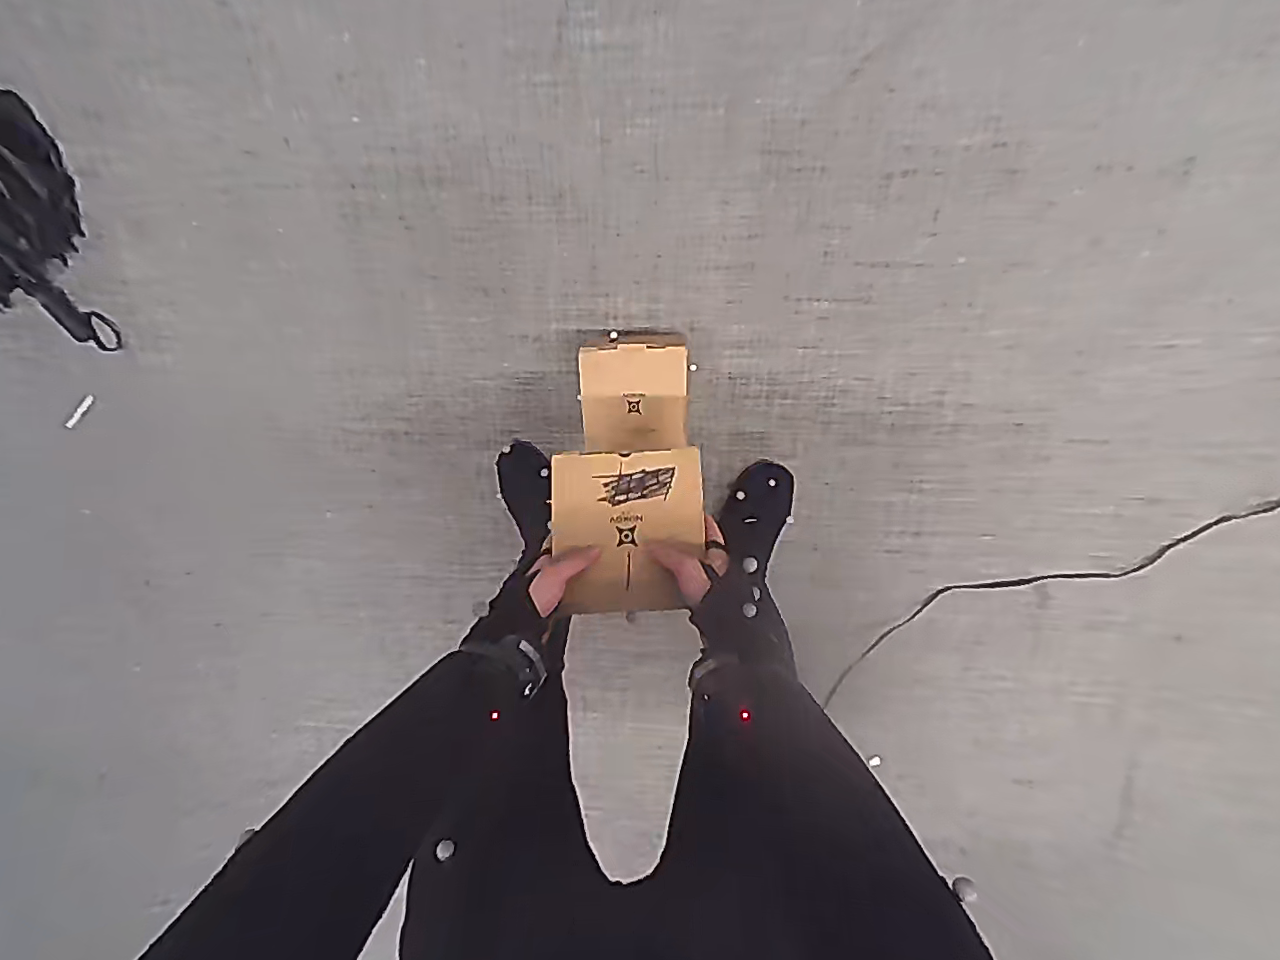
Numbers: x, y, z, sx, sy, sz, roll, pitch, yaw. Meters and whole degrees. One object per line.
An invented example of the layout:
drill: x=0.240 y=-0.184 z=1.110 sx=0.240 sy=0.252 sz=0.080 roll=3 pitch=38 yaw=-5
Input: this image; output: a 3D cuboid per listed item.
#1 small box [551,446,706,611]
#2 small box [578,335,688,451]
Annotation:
small box: x=-0.011 y=0.065 z=0.658 sx=0.168 sy=0.176 sz=0.179 roll=-3 pitch=80 yaw=3
small box: x=-0.005 y=-0.148 z=0.906 sx=0.168 sy=0.176 sz=0.179 roll=0 pitch=113 yaw=6
